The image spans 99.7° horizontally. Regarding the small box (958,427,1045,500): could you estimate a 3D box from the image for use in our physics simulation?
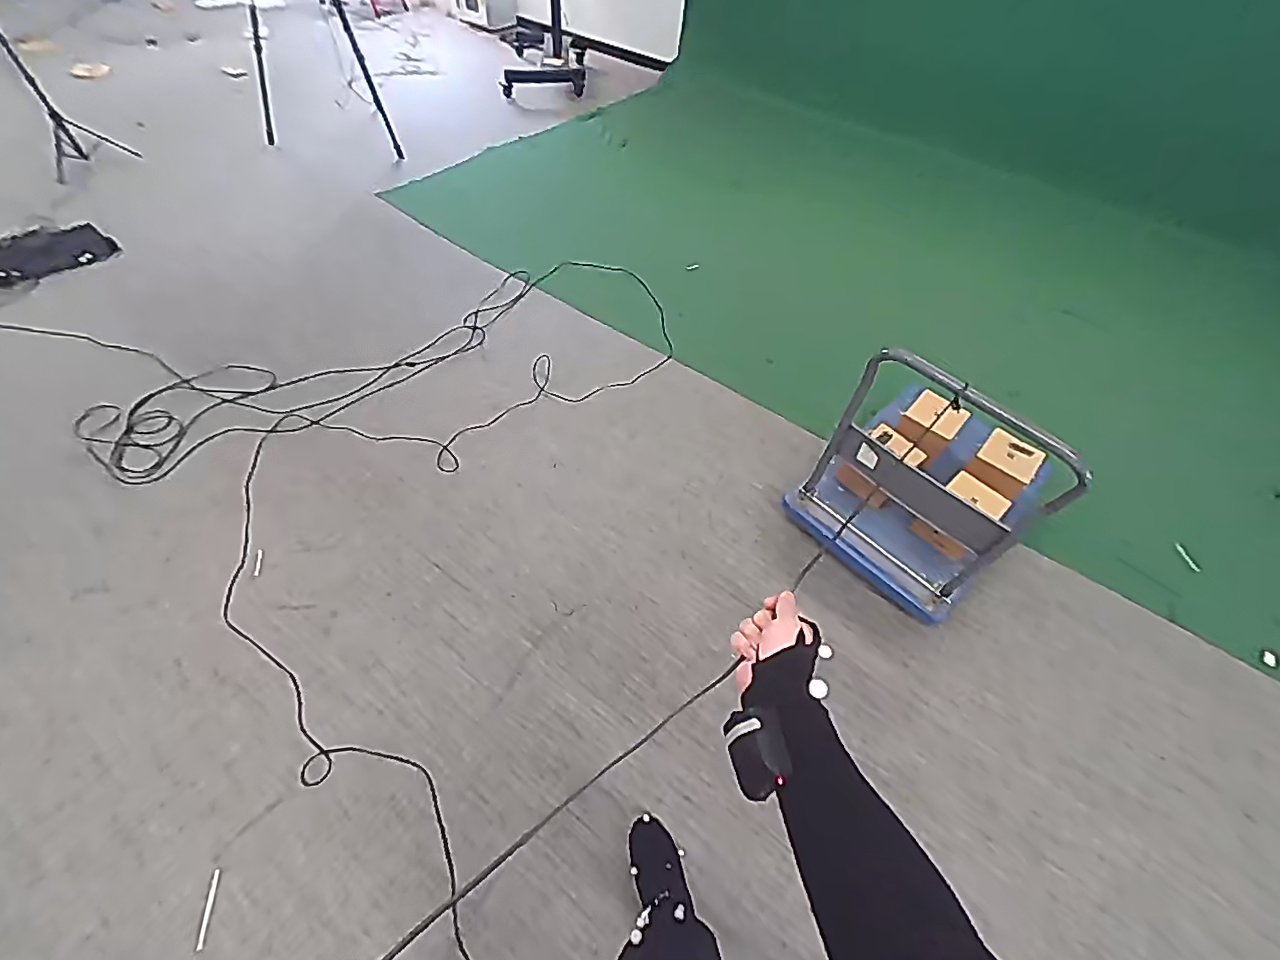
[{"bbox_3d":[1.179,-0.035,1.786,0.168,0.176,0.179,38,60,23],"label":"small box"}]

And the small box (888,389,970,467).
[{"bbox_3d":[0.995,-0.178,1.880,0.168,0.176,0.179,38,60,21],"label":"small box"}]

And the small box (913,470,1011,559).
[{"bbox_3d":[0.983,0.108,1.667,0.179,0.176,0.168,-35,63,-26],"label":"small box"}]
